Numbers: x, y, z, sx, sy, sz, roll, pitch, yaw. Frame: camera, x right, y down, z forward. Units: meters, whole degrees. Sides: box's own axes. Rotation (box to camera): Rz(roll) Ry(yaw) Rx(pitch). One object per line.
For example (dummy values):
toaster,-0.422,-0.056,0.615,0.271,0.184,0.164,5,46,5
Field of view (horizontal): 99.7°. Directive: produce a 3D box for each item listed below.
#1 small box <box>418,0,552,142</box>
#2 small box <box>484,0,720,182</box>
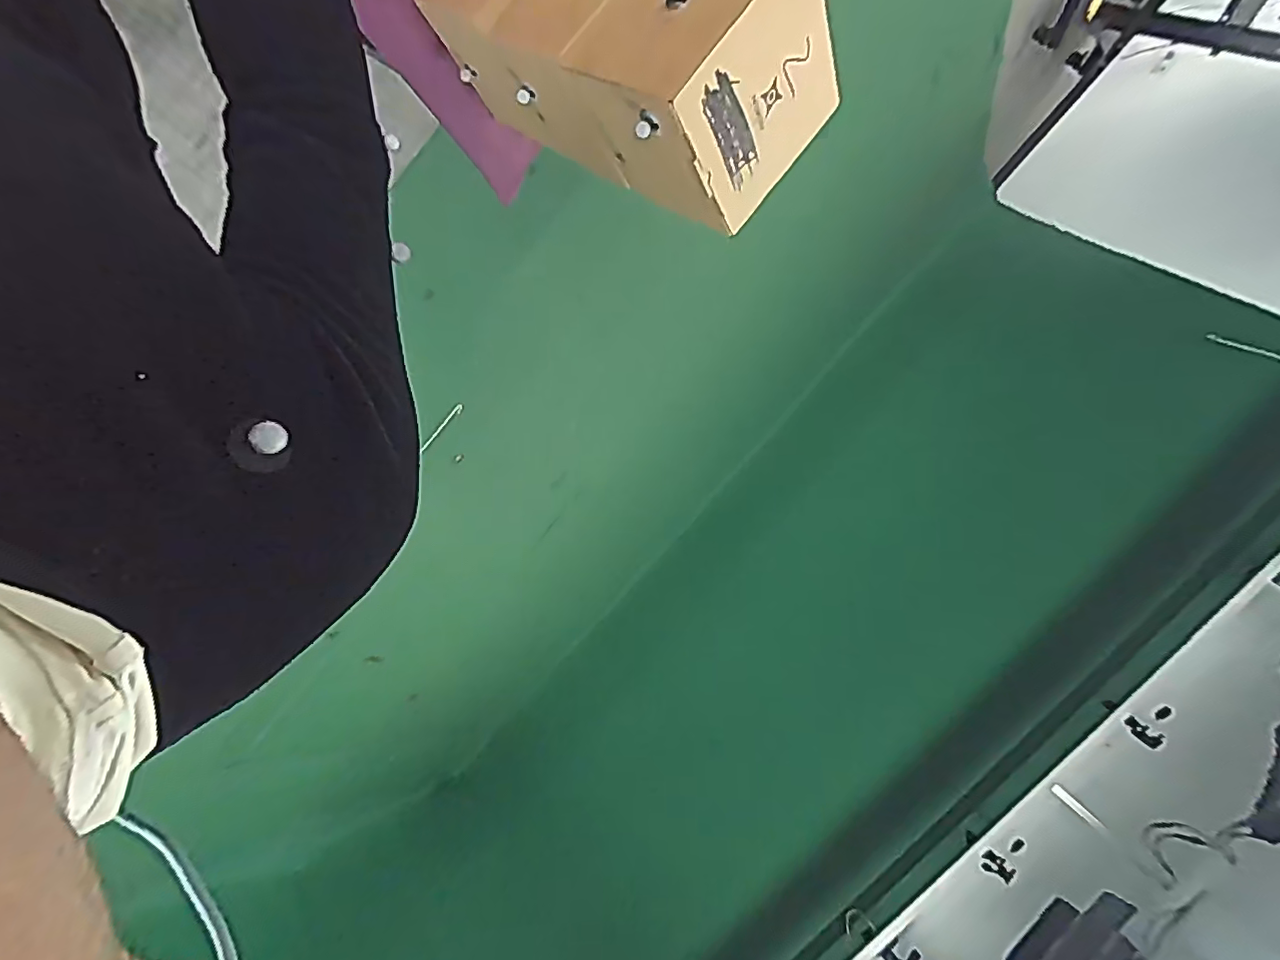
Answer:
small box,-0.149,-0.593,0.697,0.168,0.176,0.179,-48,151,2
small box,-0.042,-0.496,0.620,0.179,0.176,0.168,-47,150,2
